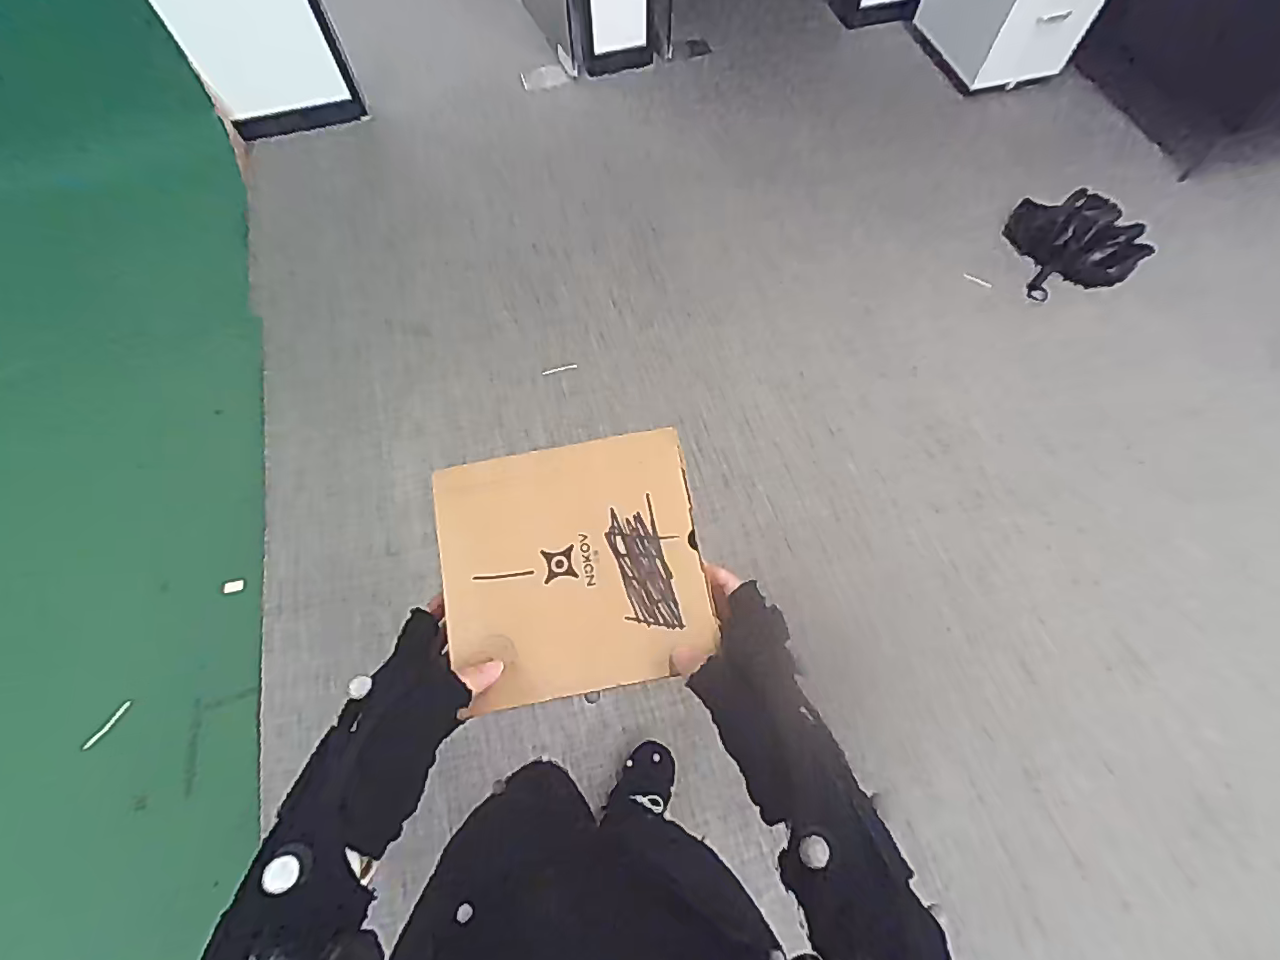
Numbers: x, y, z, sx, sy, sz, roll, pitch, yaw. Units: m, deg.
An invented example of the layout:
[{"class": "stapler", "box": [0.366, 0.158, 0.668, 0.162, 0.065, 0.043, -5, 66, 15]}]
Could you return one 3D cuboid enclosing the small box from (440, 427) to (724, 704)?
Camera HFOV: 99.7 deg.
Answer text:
[{"class": "small box", "box": [-0.043, 0.070, 0.445, 0.179, 0.176, 0.168, -10, 76, -2]}]
